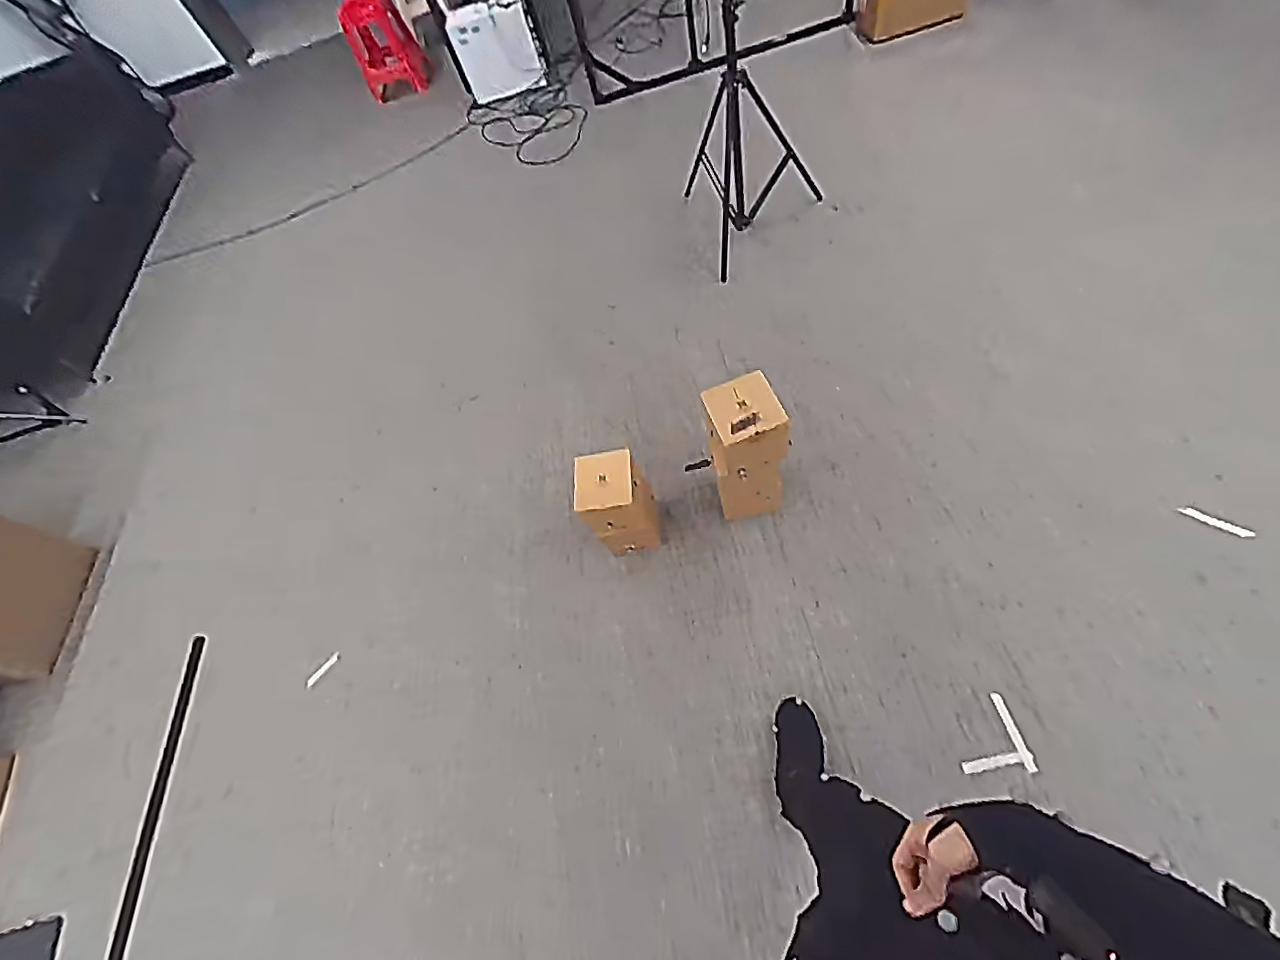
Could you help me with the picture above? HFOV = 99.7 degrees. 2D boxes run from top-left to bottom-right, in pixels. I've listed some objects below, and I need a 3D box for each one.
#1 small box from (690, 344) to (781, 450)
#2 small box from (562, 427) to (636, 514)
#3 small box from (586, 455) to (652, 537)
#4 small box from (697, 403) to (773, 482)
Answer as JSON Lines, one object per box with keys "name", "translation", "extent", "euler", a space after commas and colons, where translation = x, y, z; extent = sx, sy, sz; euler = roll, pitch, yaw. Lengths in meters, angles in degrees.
{"name": "small box", "translation": [0.238, -0.194, 1.332], "extent": [0.168, 0.176, 0.179], "euler": [-21, 60, 2]}
{"name": "small box", "translation": [-0.112, -0.023, 1.520], "extent": [0.168, 0.176, 0.179], "euler": [-9, 61, 10]}
{"name": "small box", "translation": [-0.066, 0.053, 1.654], "extent": [0.168, 0.176, 0.179], "euler": [-12, 60, 10]}
{"name": "small box", "translation": [0.258, -0.120, 1.479], "extent": [0.168, 0.176, 0.179], "euler": [-15, 59, 6]}
